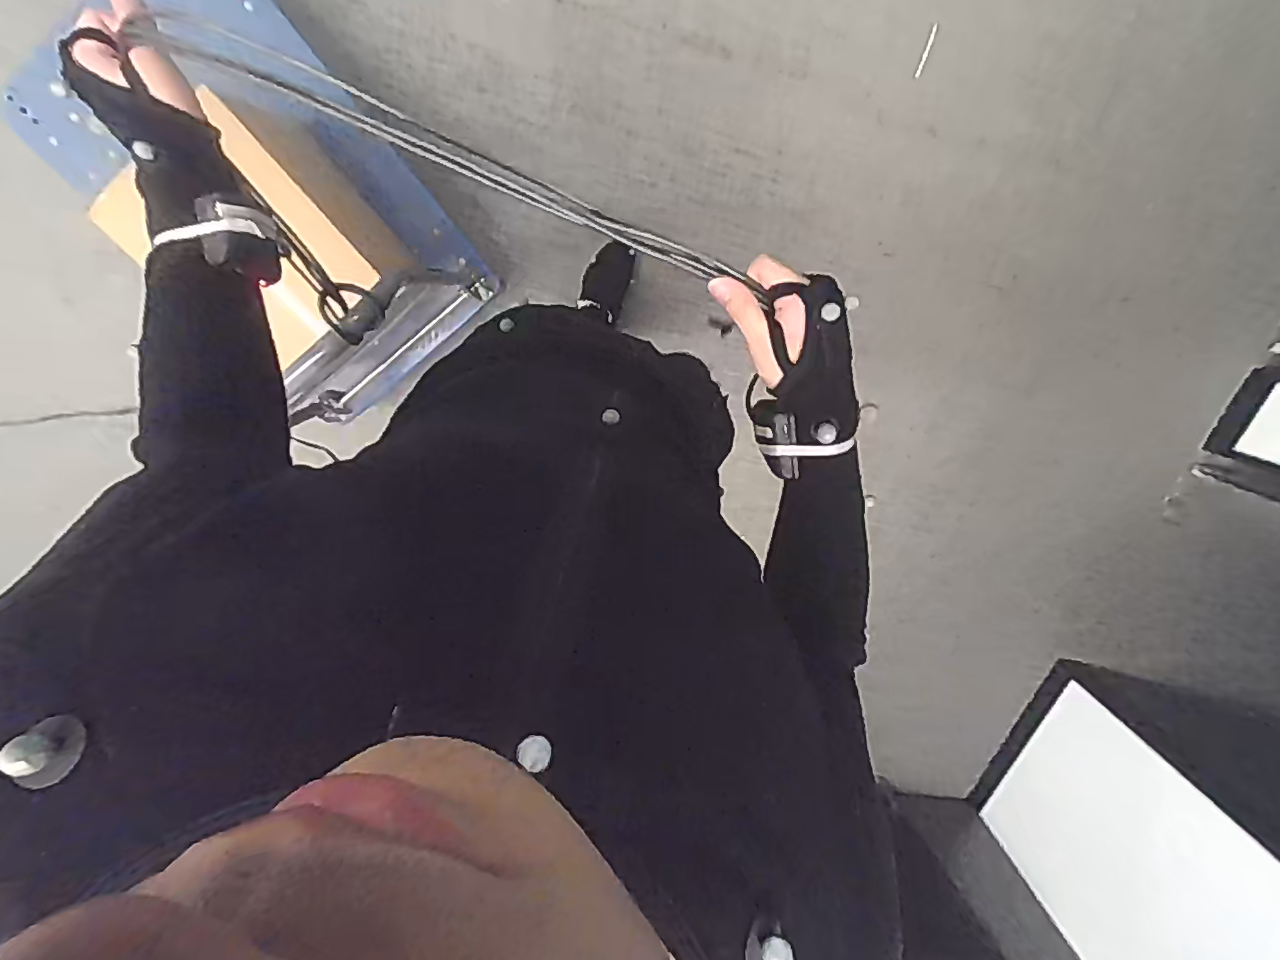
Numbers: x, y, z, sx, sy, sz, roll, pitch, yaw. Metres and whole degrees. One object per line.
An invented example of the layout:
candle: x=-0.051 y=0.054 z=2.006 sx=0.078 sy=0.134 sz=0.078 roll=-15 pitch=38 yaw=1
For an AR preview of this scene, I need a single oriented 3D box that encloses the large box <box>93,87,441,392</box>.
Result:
large box: x=-0.684 y=-0.450 z=1.078 sx=0.320 sy=0.320 sz=0.408 roll=-36 pitch=111 yaw=10
